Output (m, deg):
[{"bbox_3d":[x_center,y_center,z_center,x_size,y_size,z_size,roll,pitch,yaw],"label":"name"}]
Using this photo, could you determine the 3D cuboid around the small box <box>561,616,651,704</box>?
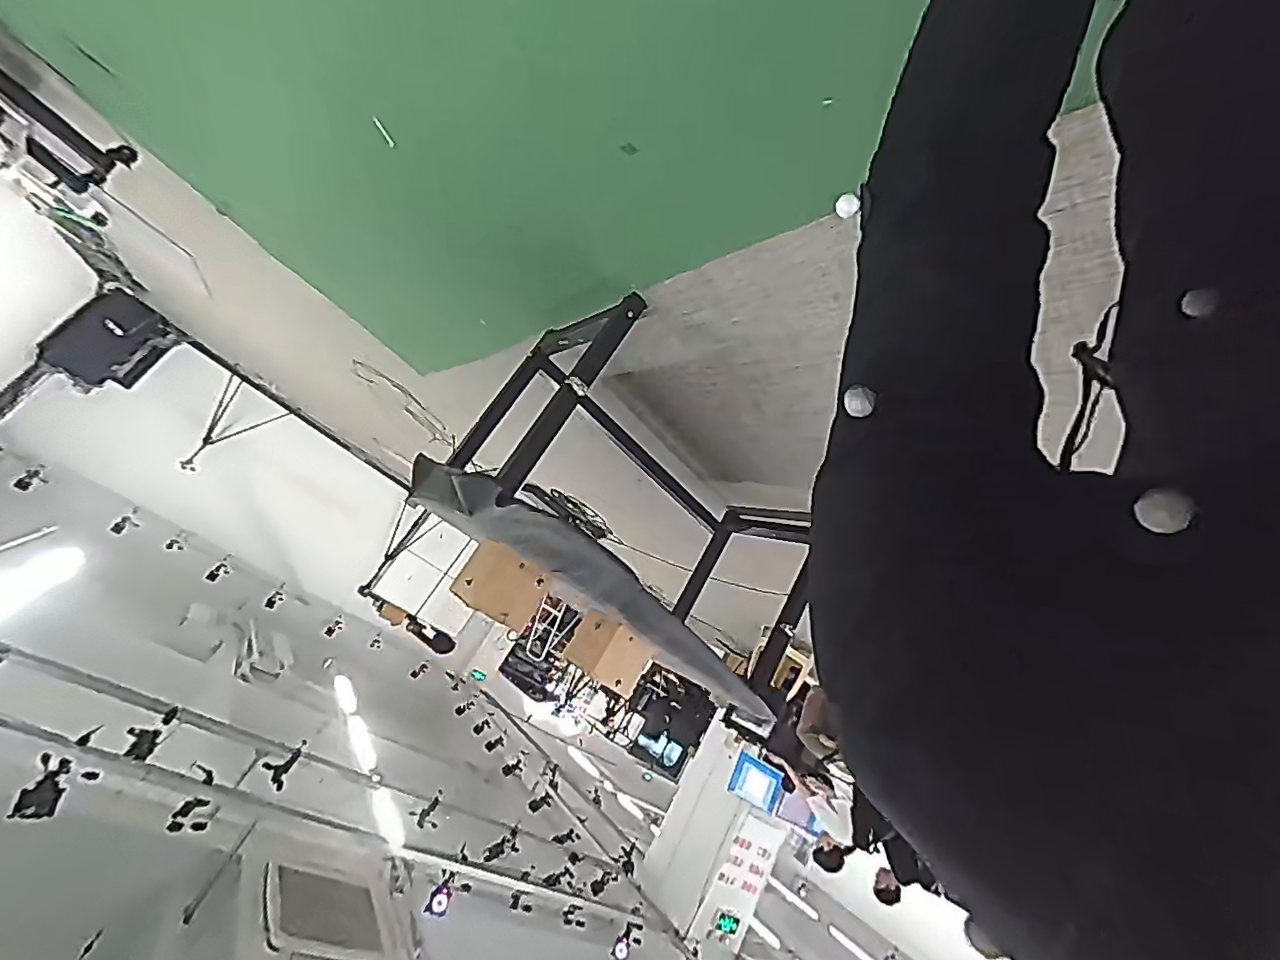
[{"bbox_3d":[-0.098,0.530,1.616,0.168,0.176,0.179,43,160,-30],"label":"small box"}]

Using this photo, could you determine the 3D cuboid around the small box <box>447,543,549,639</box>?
[{"bbox_3d":[-0.362,0.281,1.401,0.168,0.176,0.179,42,160,-30],"label":"small box"}]
